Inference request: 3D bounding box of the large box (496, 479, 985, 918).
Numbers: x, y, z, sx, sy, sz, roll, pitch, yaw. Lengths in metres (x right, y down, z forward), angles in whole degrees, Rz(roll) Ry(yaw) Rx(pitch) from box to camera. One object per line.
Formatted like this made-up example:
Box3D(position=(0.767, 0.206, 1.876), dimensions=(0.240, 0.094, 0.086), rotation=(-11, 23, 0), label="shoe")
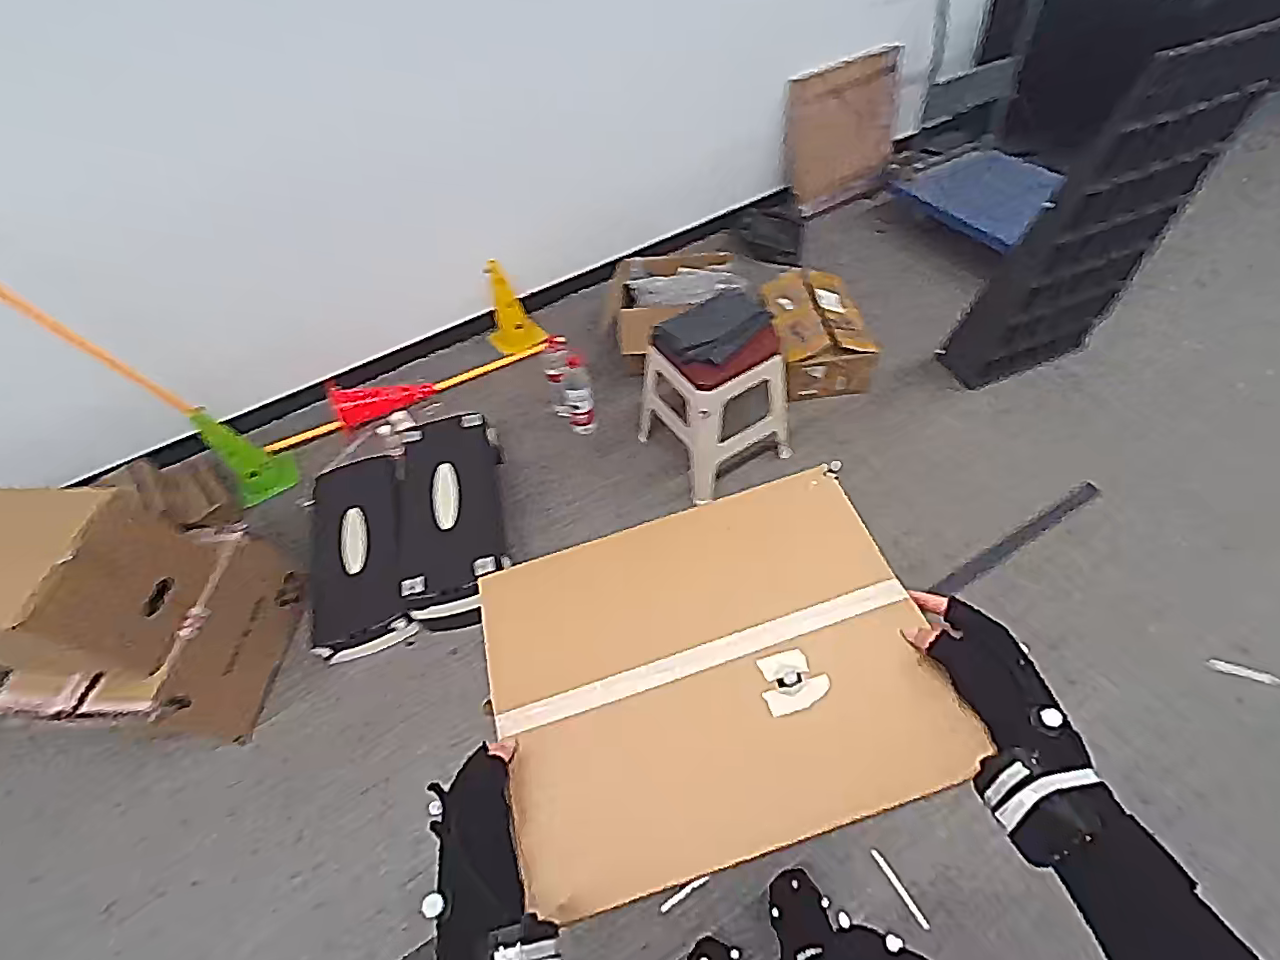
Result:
Box3D(position=(0.086, 0.259, 0.654), dimensions=(0.408, 0.320, 0.320), rotation=(-17, 57, -2), label="large box")
